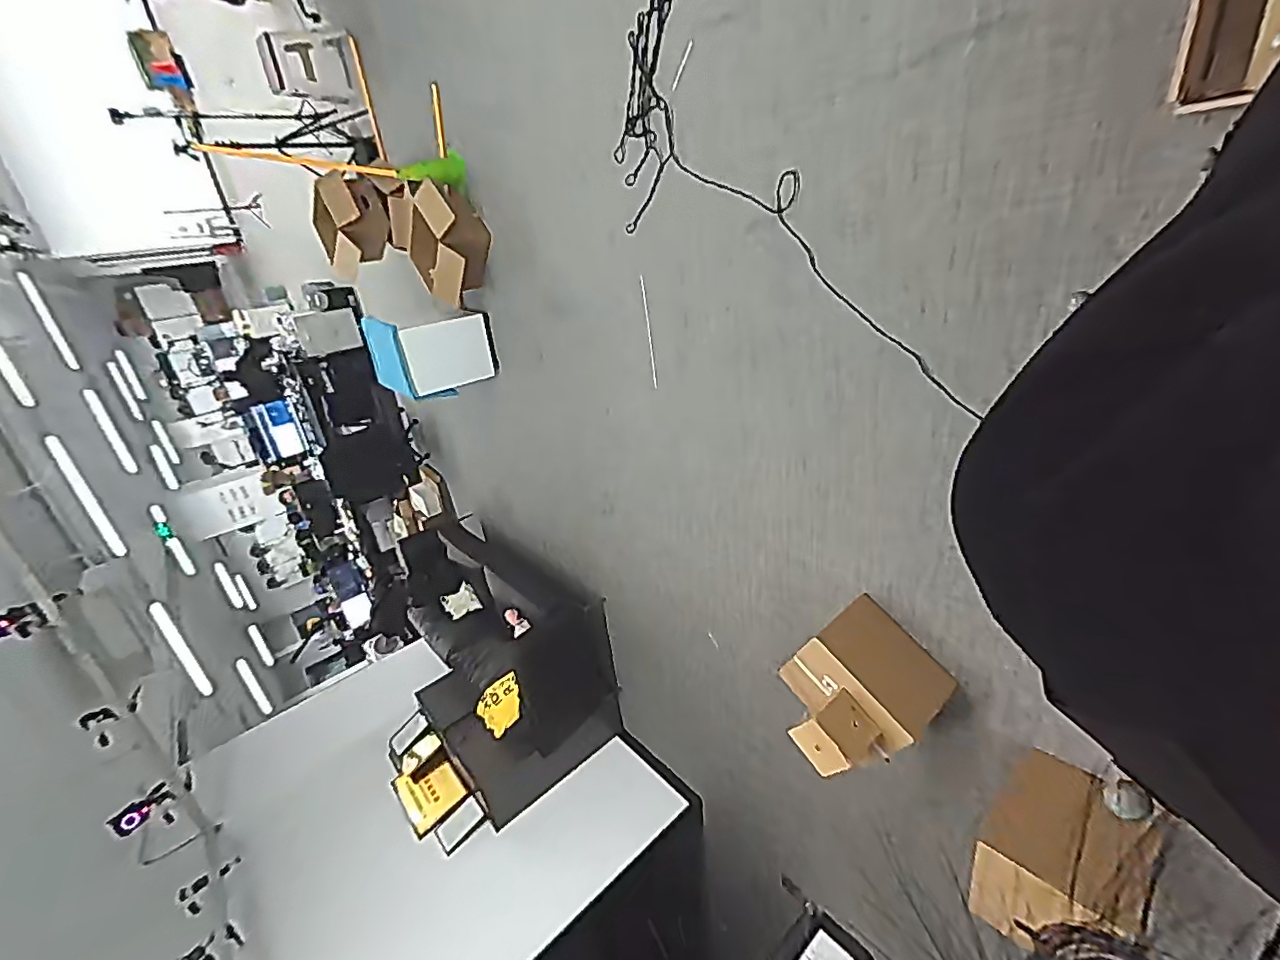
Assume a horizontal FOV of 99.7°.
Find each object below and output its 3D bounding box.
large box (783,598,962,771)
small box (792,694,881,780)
[{"bbox_3d":[0.788,0.696,1.867,0.408,0.320,0.320,49,143,26],"label":"large box"},{"bbox_3d":[0.628,0.816,1.721,0.168,0.176,0.179,50,145,22],"label":"small box"}]
